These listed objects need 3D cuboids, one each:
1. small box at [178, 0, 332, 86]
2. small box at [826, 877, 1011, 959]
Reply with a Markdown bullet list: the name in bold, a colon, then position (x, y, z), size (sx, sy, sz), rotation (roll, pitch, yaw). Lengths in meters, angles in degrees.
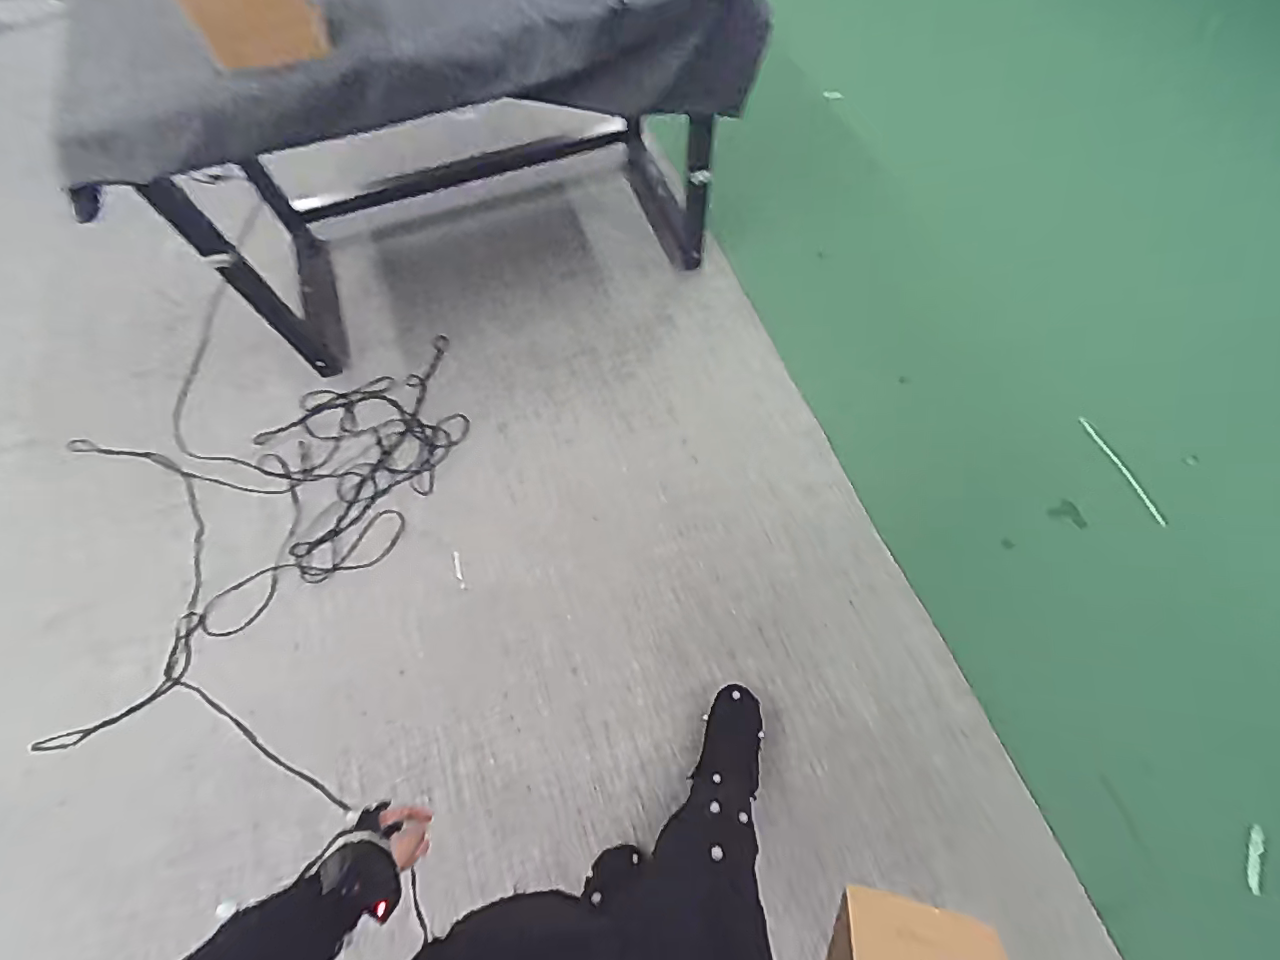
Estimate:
- **small box**: position (-0.653, -0.802, 0.909), size (0.179, 0.176, 0.168), rotation (-17, 65, -6)
- **small box**: position (0.293, 0.580, 0.567), size (0.168, 0.179, 0.176), rotation (8, 107, 12)
